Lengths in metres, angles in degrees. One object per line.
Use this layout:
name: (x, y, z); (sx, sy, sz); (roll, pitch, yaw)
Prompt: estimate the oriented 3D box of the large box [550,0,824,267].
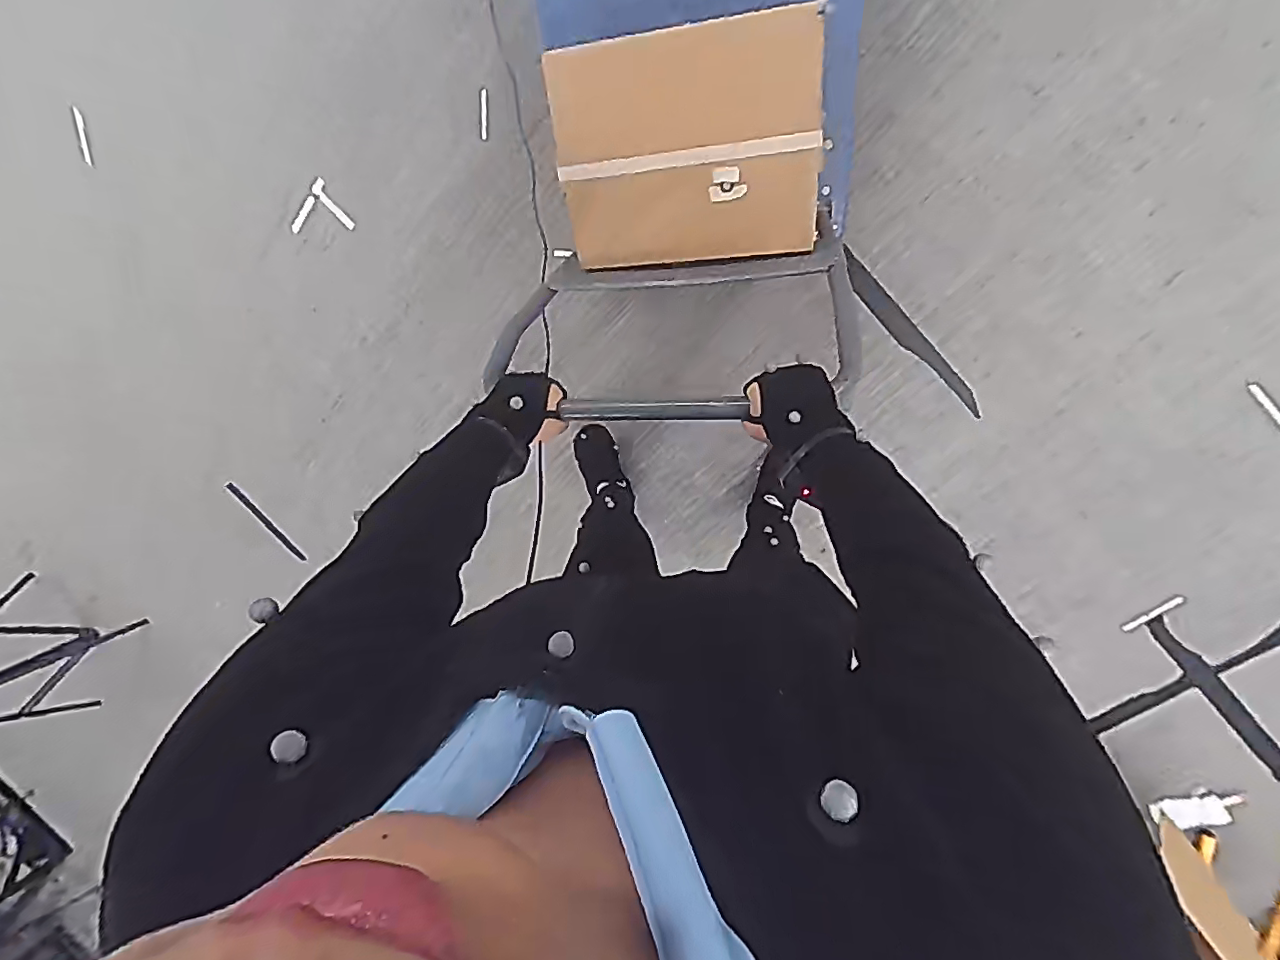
large box: (0.101, -0.598, 0.970); (0.408, 0.320, 0.320); (0, 126, 13)
